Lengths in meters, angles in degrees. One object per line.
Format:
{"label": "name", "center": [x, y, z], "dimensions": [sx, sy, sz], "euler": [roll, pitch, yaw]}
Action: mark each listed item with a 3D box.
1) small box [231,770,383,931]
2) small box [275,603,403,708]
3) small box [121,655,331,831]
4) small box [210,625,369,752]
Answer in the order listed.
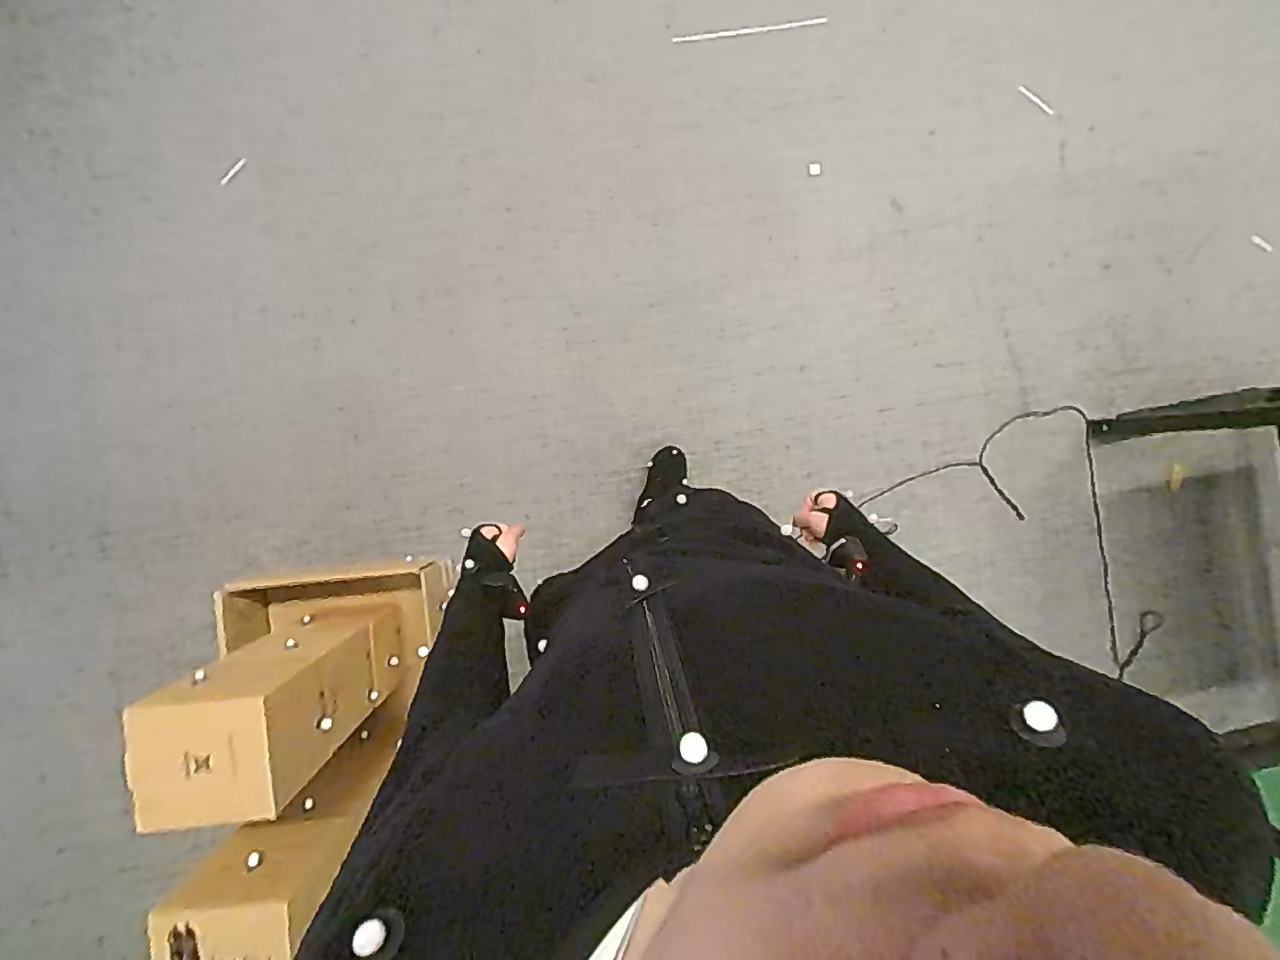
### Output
{"label": "small box", "center": [-0.567, 0.634, 0.947], "dimensions": [0.179, 0.176, 0.168], "euler": [-3, 90, -4]}
{"label": "small box", "center": [-0.601, 0.356, 1.104], "dimensions": [0.179, 0.176, 0.168], "euler": [-4, 92, -3]}
{"label": "small box", "center": [-0.579, 0.364, 0.778], "dimensions": [0.179, 0.176, 0.168], "euler": [-4, 92, -4]}
{"label": "small box", "center": [-0.592, 0.360, 0.940], "dimensions": [0.179, 0.176, 0.168], "euler": [-5, 92, -3]}
